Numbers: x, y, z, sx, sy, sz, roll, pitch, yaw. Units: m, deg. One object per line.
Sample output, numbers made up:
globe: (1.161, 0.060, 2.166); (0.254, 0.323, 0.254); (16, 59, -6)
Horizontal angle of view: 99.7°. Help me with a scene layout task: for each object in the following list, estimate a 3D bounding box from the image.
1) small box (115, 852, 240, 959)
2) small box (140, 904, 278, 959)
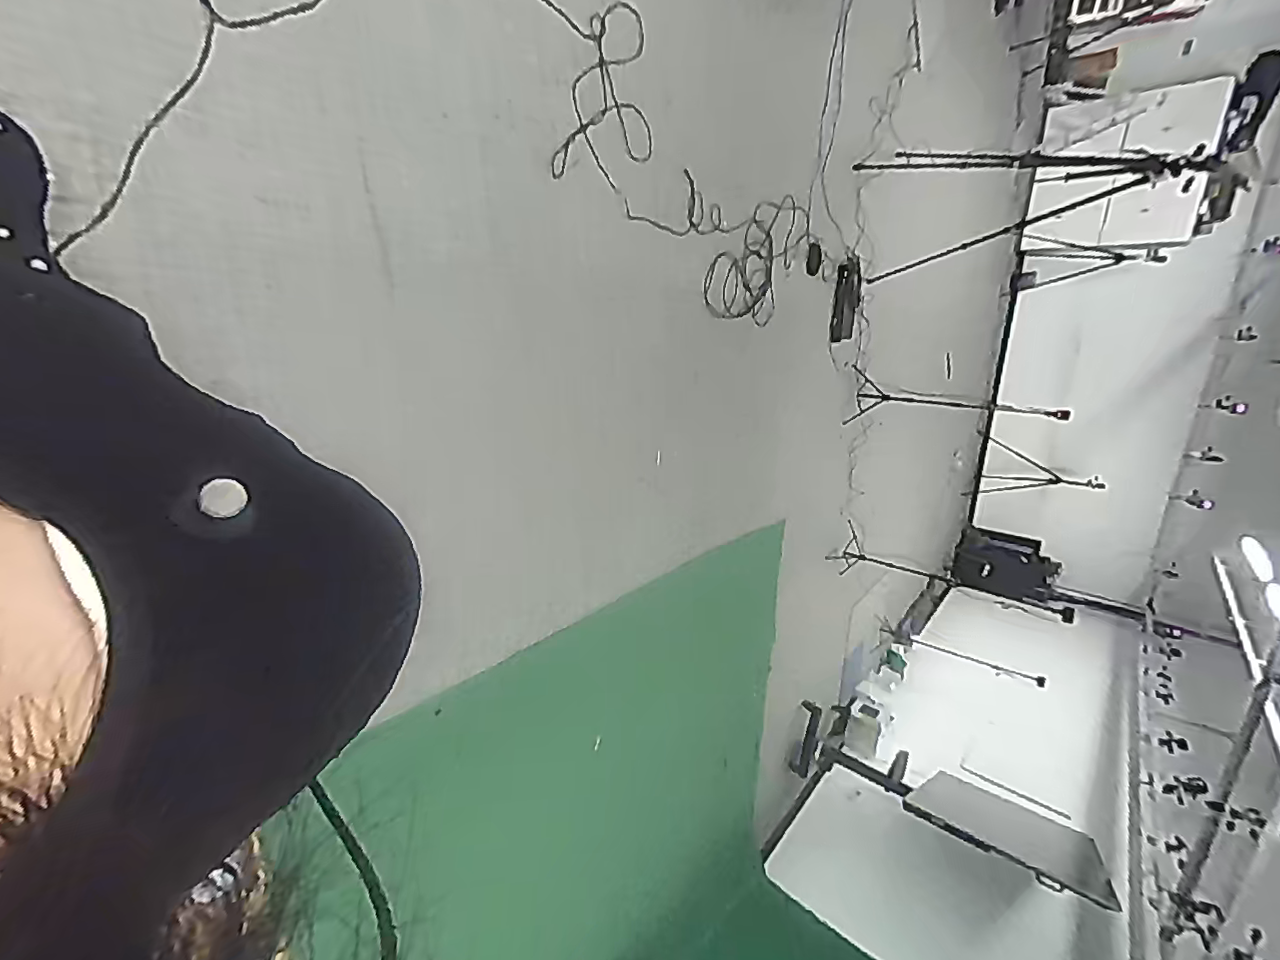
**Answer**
small box: (-0.918, 0.897, 1.086); (0.168, 0.176, 0.179); (-15, 113, -47)
small box: (-0.798, 0.921, 0.979); (0.168, 0.176, 0.179); (18, 88, -51)
